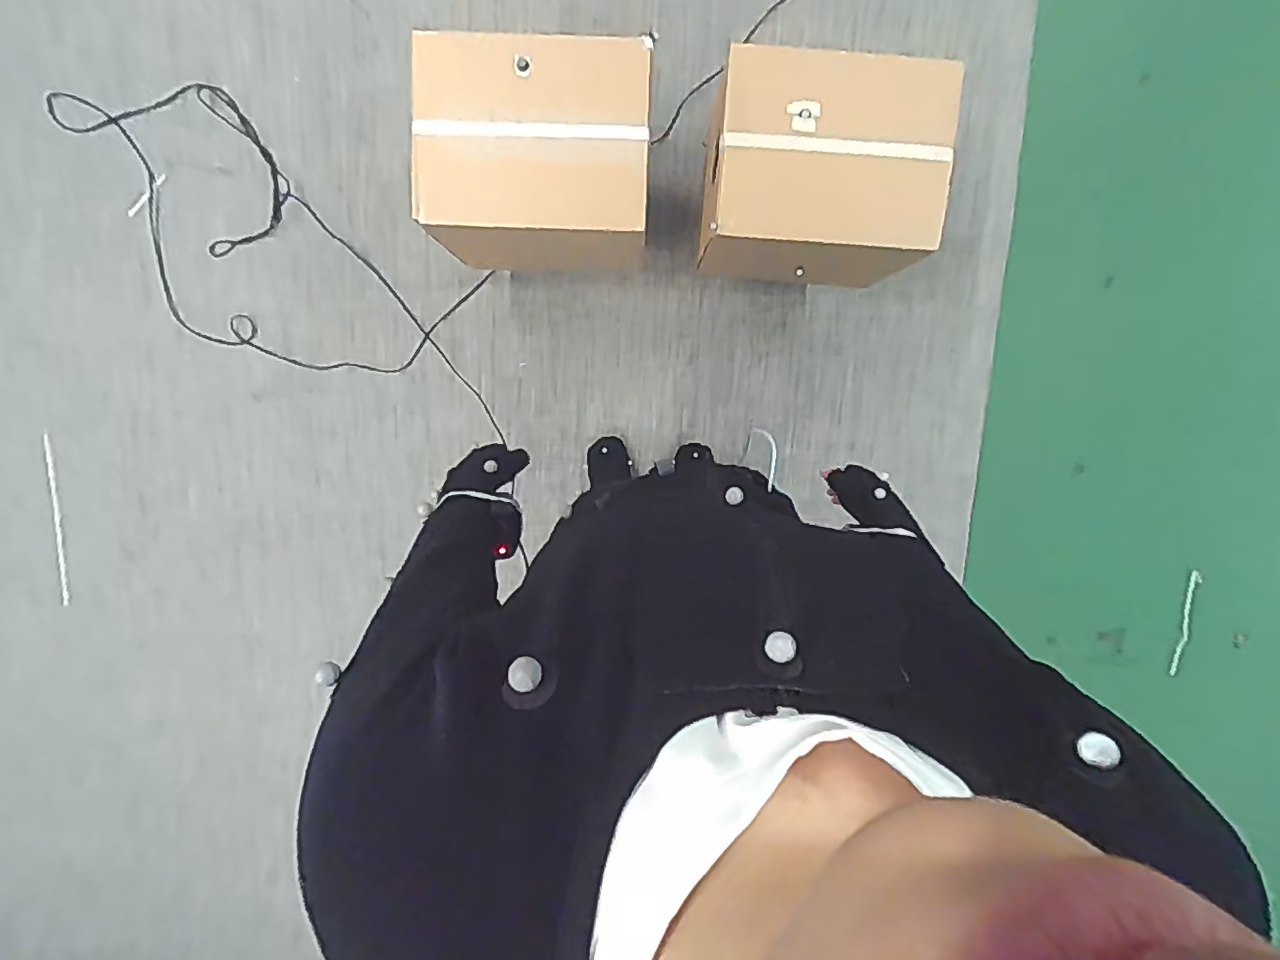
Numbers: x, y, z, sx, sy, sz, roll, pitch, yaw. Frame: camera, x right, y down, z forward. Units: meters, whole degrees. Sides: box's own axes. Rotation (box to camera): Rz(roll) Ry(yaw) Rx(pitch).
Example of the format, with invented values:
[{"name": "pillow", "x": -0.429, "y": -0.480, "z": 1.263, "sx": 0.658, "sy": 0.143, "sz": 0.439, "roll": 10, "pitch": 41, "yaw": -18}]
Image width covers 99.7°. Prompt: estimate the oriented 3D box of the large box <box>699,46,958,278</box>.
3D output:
[{"name": "large box", "x": 0.346, "y": -0.607, "z": 1.098, "sx": 0.408, "sy": 0.320, "sz": 0.320, "roll": 4, "pitch": 98, "yaw": 0}]
